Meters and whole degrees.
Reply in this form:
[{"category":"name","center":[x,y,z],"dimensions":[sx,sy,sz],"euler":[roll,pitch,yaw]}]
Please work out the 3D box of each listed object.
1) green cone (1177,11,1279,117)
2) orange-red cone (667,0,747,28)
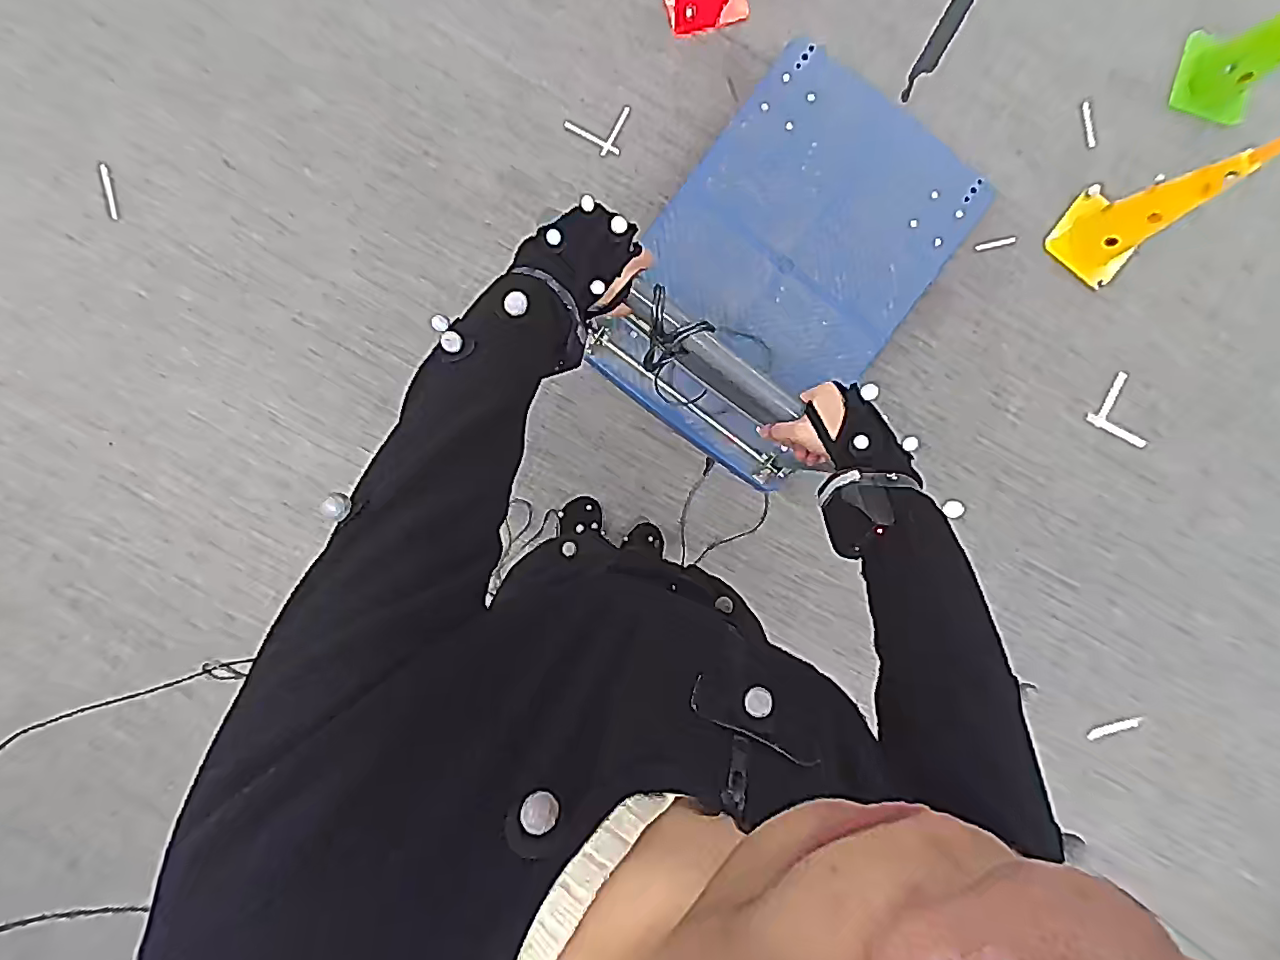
[{"category":"green cone","center":[1.497,-1.042,1.214],"dimensions":[0.200,0.368,0.202],"euler":[15,92,-2]},{"category":"orange-red cone","center":[0.162,-1.229,1.168],"dimensions":[0.199,0.360,0.198],"euler":[-16,92,-3]}]
